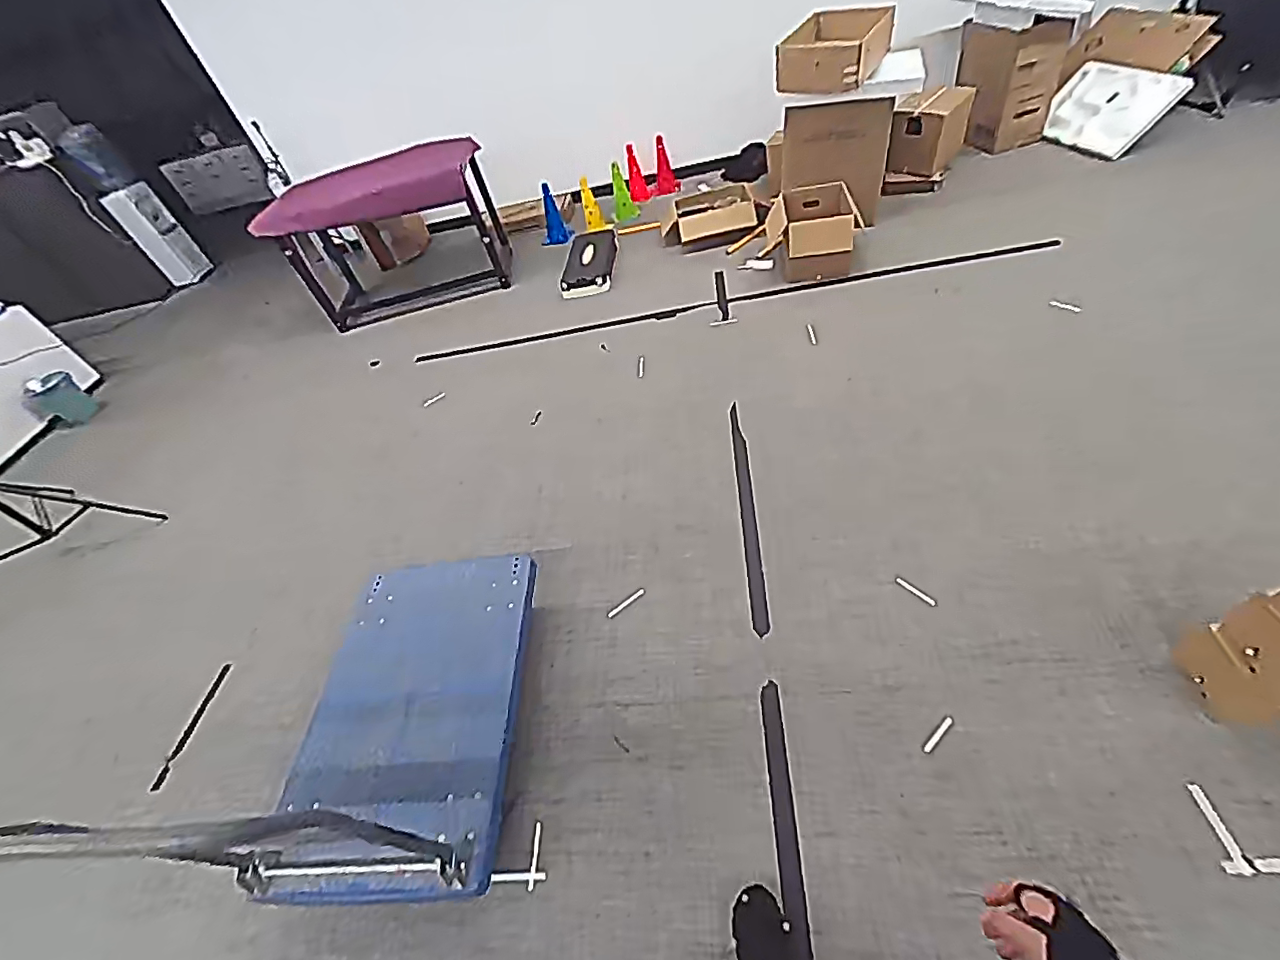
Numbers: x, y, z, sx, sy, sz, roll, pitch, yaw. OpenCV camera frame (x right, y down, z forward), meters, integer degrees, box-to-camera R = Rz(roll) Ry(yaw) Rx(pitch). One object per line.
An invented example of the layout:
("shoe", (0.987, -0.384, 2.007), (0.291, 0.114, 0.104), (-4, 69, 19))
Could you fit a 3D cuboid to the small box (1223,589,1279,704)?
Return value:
("small box", (1.328, 0.327, 1.056), (0.179, 0.176, 0.168), (-5, 46, 13))
